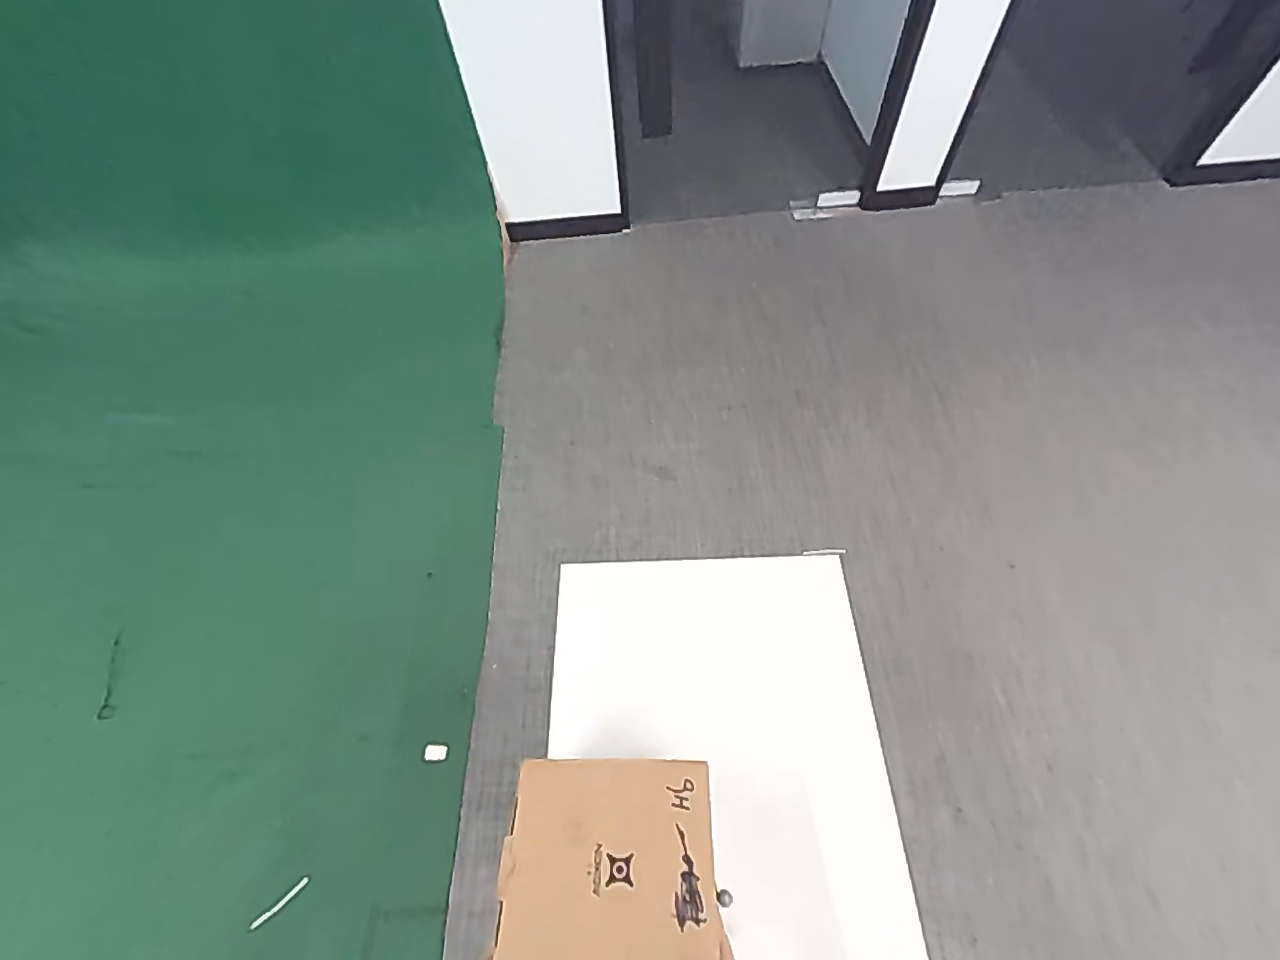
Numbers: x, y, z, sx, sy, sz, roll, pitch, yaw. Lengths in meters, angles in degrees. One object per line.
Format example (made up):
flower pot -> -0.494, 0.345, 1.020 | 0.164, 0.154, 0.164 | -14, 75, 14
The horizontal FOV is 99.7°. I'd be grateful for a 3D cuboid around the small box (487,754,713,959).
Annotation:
small box -> -0.024, 0.368, 0.510 | 0.179, 0.176, 0.168 | -1, 51, 3
